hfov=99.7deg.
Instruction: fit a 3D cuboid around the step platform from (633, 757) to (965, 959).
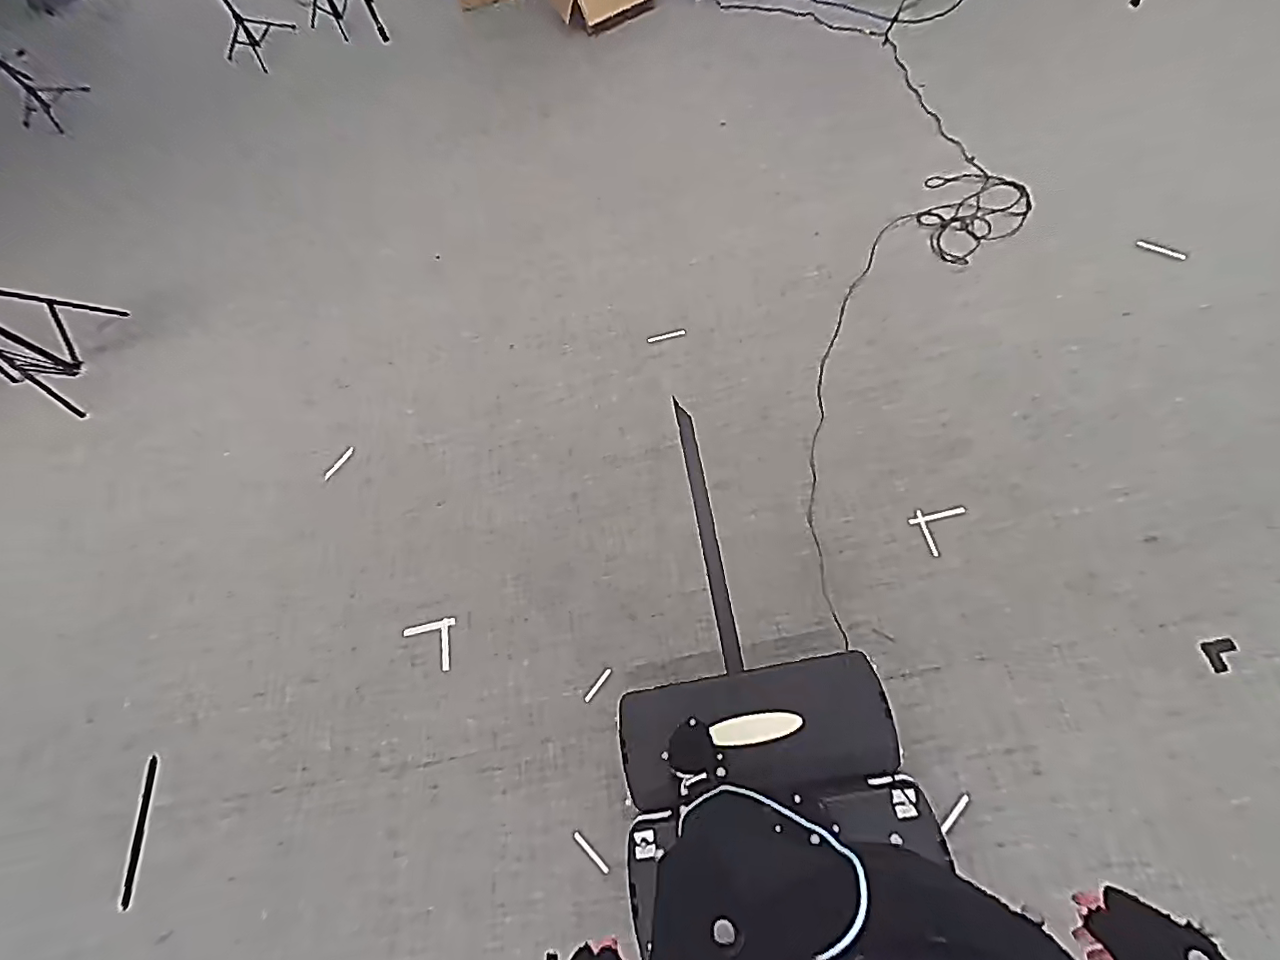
[{"bbox_3d":[0.327,0.833,1.209,0.684,0.204,0.286,-14,63,7],"label":"step platform"}]
